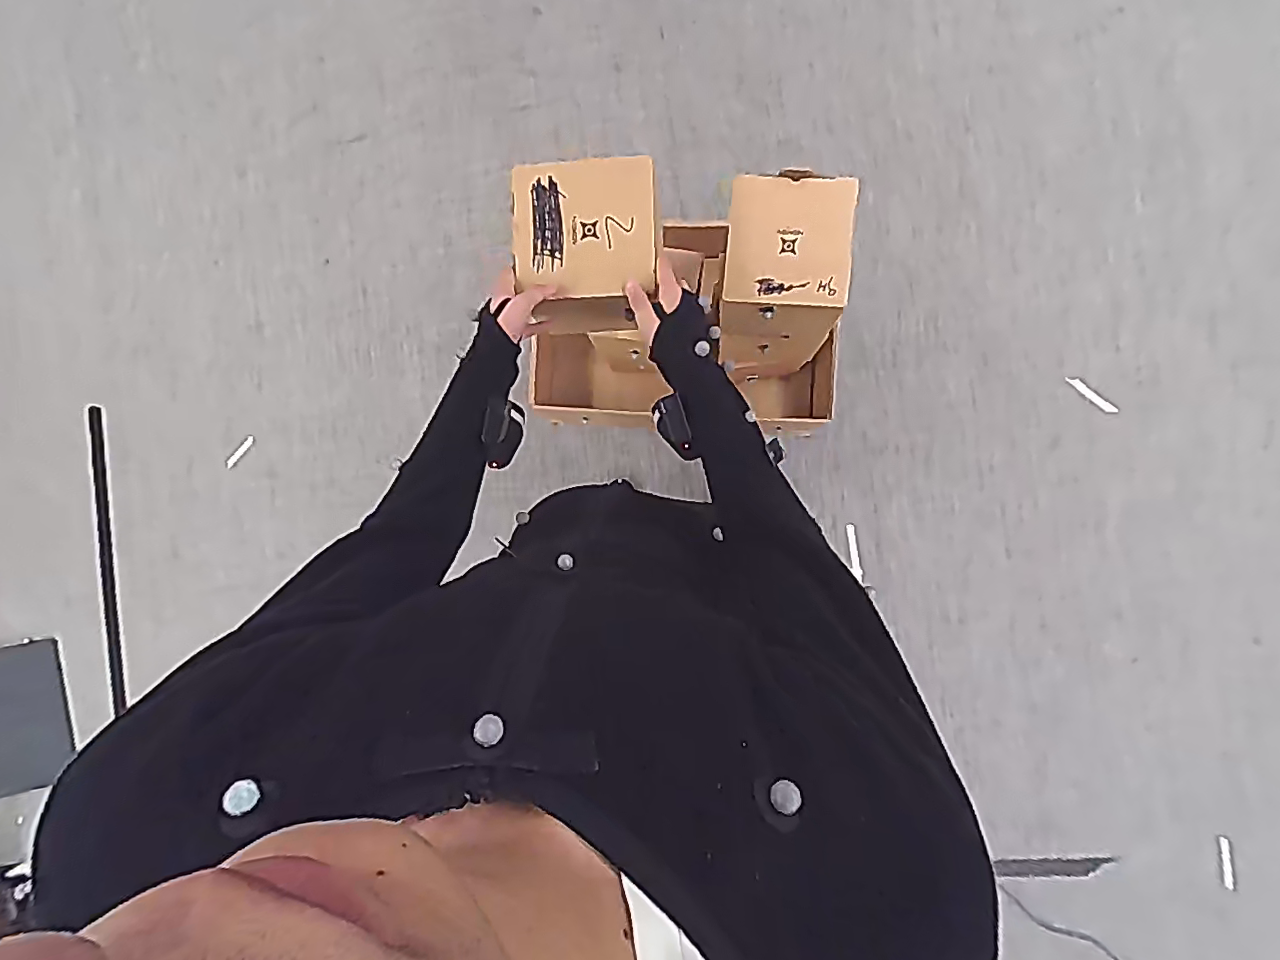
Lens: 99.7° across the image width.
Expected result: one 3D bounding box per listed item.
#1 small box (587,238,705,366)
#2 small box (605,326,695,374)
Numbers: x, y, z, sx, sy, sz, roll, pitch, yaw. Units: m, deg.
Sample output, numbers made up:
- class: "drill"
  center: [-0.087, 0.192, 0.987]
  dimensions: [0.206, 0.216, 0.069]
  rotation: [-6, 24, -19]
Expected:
- class: "small box"
  center: [0.015, -0.310, 0.975]
  dimensions: [0.179, 0.176, 0.168]
  rotation: [10, 90, 5]
- class: "small box"
  center: [0.026, -0.323, 1.139]
  dimensions: [0.179, 0.176, 0.168]
  rotation: [5, 90, 4]
